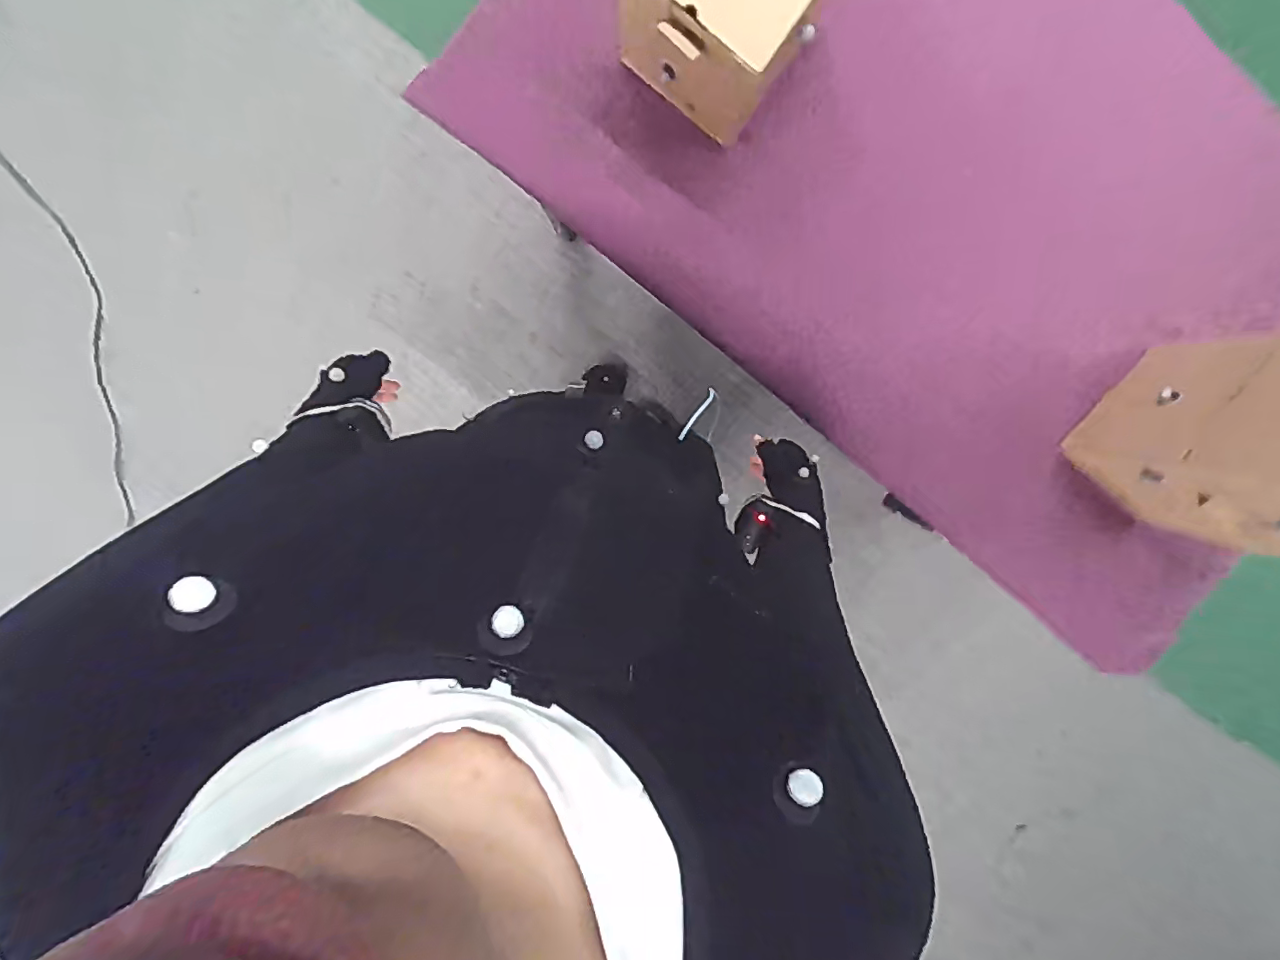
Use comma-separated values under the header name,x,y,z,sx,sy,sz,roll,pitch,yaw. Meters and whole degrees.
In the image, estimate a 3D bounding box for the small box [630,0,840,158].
name,x,y,z,sx,sy,sz,roll,pitch,yaw
small box,0.099,-0.495,0.575,0.168,0.176,0.179,37,99,-7
